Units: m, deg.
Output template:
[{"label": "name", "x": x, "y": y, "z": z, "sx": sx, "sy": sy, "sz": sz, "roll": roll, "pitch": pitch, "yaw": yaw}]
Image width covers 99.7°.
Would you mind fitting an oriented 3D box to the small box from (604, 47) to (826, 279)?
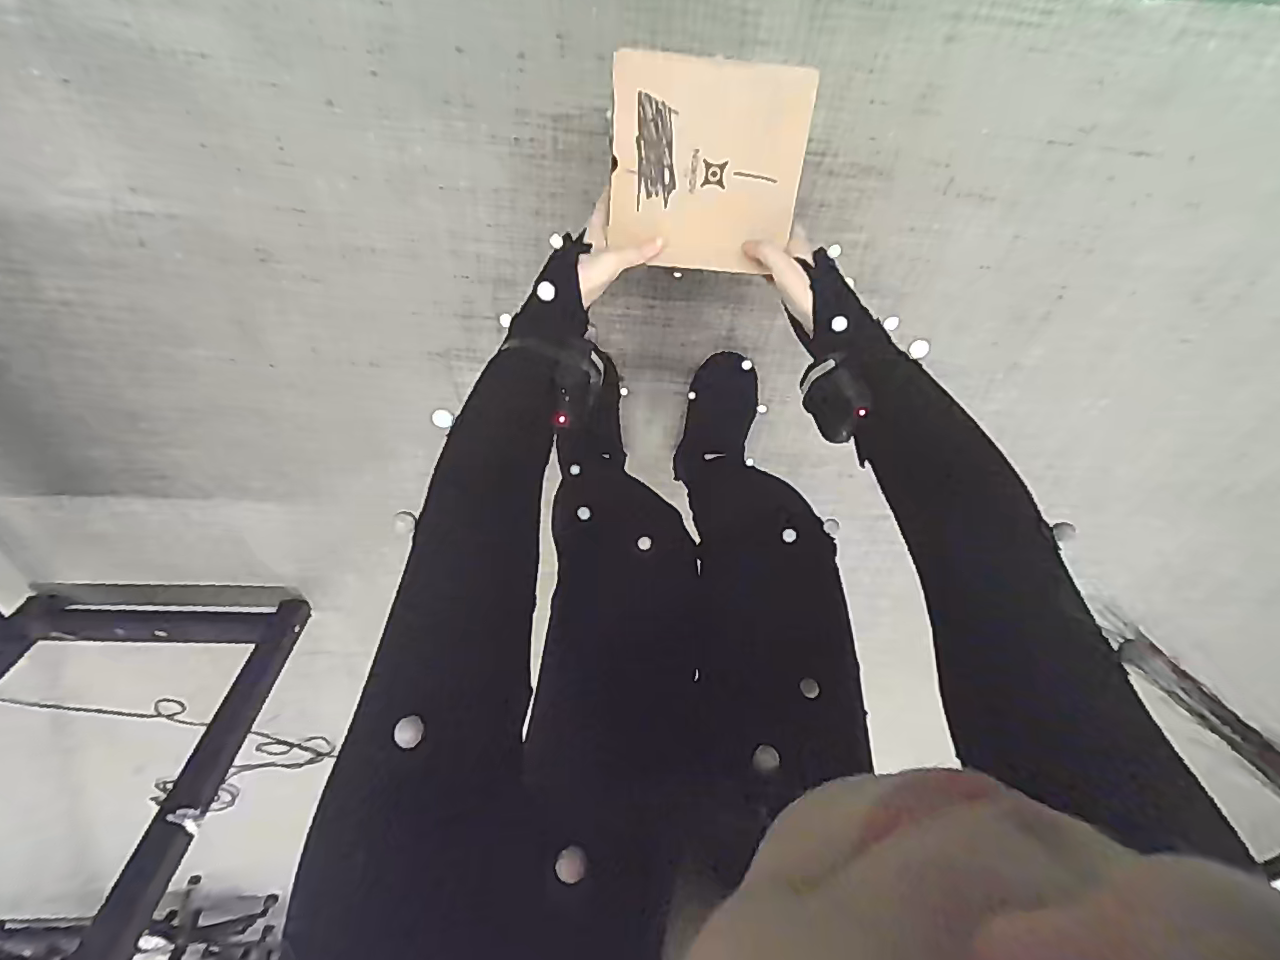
[{"label": "small box", "x": 0.060, "y": -0.309, "z": 0.548, "sx": 0.179, "sy": 0.176, "sz": 0.168, "roll": 5, "pitch": 119, "yaw": -2}]
